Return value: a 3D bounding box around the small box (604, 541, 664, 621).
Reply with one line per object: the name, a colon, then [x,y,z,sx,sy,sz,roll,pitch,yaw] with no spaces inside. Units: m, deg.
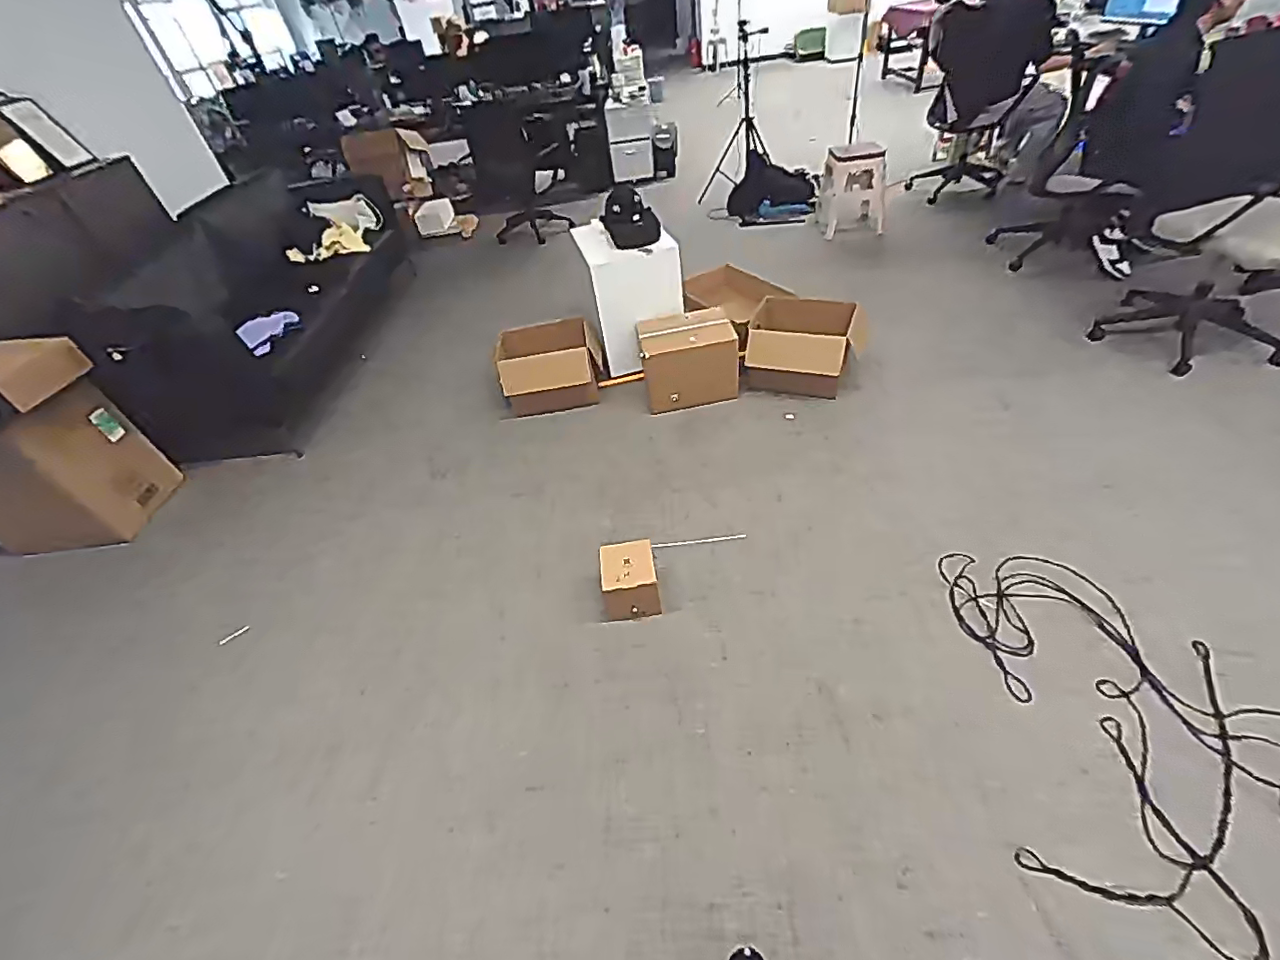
small box: [-0.019,0.322,1.714,0.168,0.176,0.179,-9,43,2]
